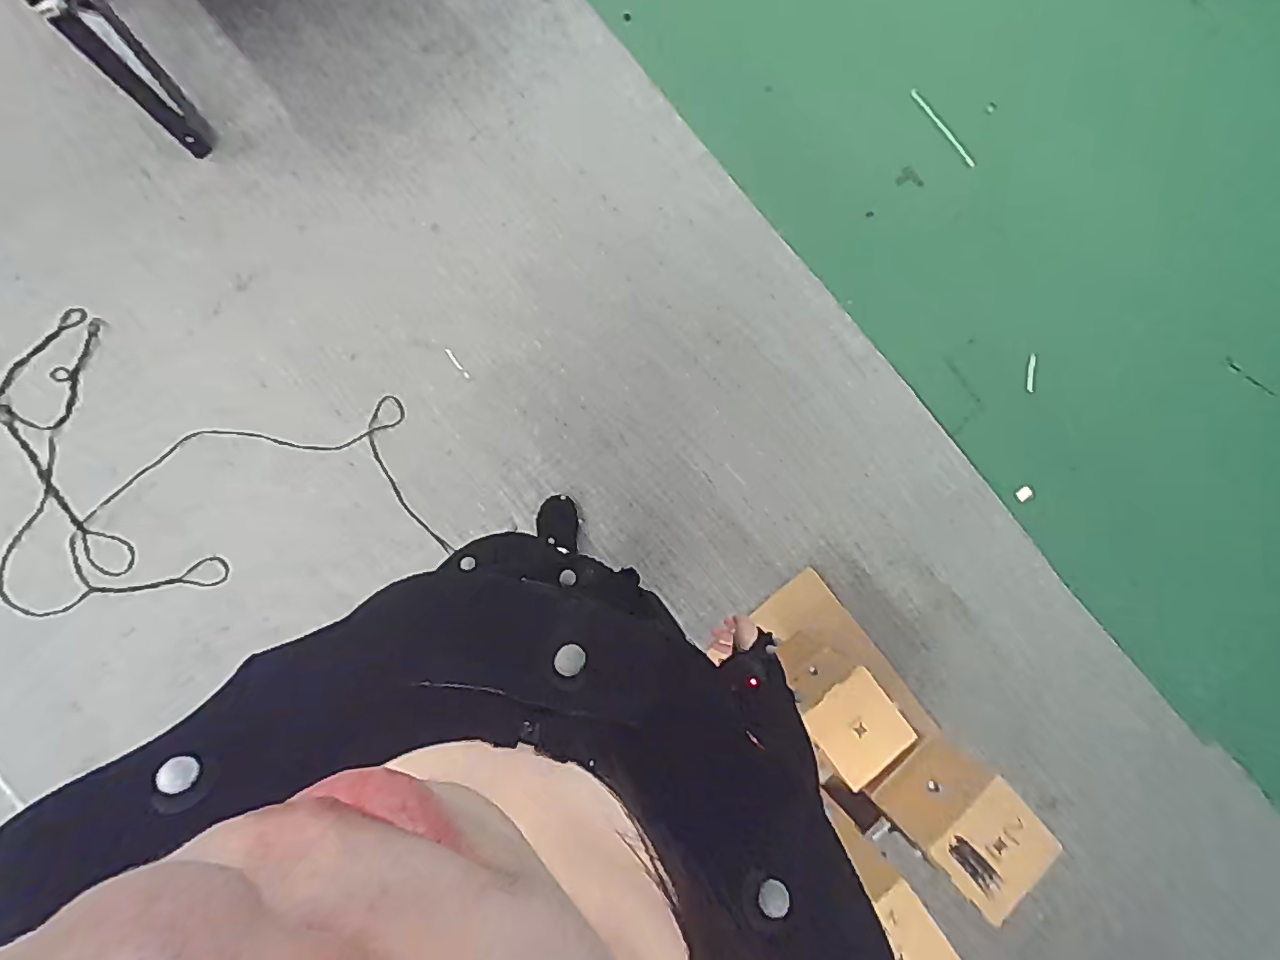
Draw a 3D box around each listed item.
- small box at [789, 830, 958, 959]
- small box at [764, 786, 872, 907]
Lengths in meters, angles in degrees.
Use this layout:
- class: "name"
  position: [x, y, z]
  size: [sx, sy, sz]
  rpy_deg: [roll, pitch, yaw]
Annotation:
- class: "small box"
  position: [0.389, 0.754, 0.921]
  size: [0.168, 0.176, 0.179]
  rpy_deg: [-34, 88, -10]
- class: "small box"
  position: [0.371, 0.768, 1.087]
  size: [0.179, 0.176, 0.168]
  rpy_deg: [-35, 89, -9]
